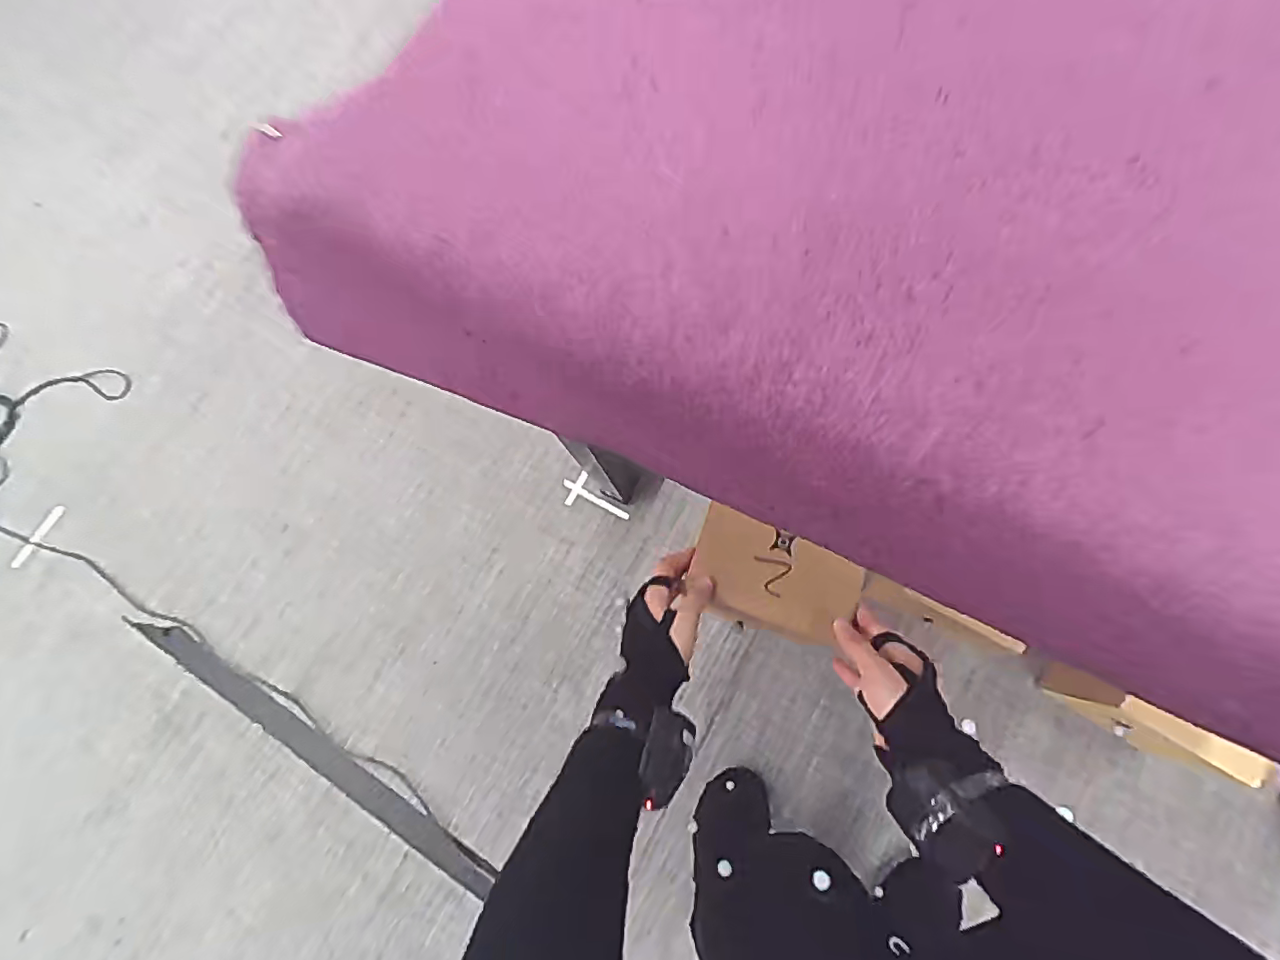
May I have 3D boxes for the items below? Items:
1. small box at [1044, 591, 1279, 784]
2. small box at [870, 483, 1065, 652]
[{"bbox_3d":[0.717,0.275,0.756,0.168,0.176,0.179,31,81,12],"label":"small box"},{"bbox_3d":[0.471,0.133,0.810,0.168,0.176,0.179,29,80,11],"label":"small box"}]
